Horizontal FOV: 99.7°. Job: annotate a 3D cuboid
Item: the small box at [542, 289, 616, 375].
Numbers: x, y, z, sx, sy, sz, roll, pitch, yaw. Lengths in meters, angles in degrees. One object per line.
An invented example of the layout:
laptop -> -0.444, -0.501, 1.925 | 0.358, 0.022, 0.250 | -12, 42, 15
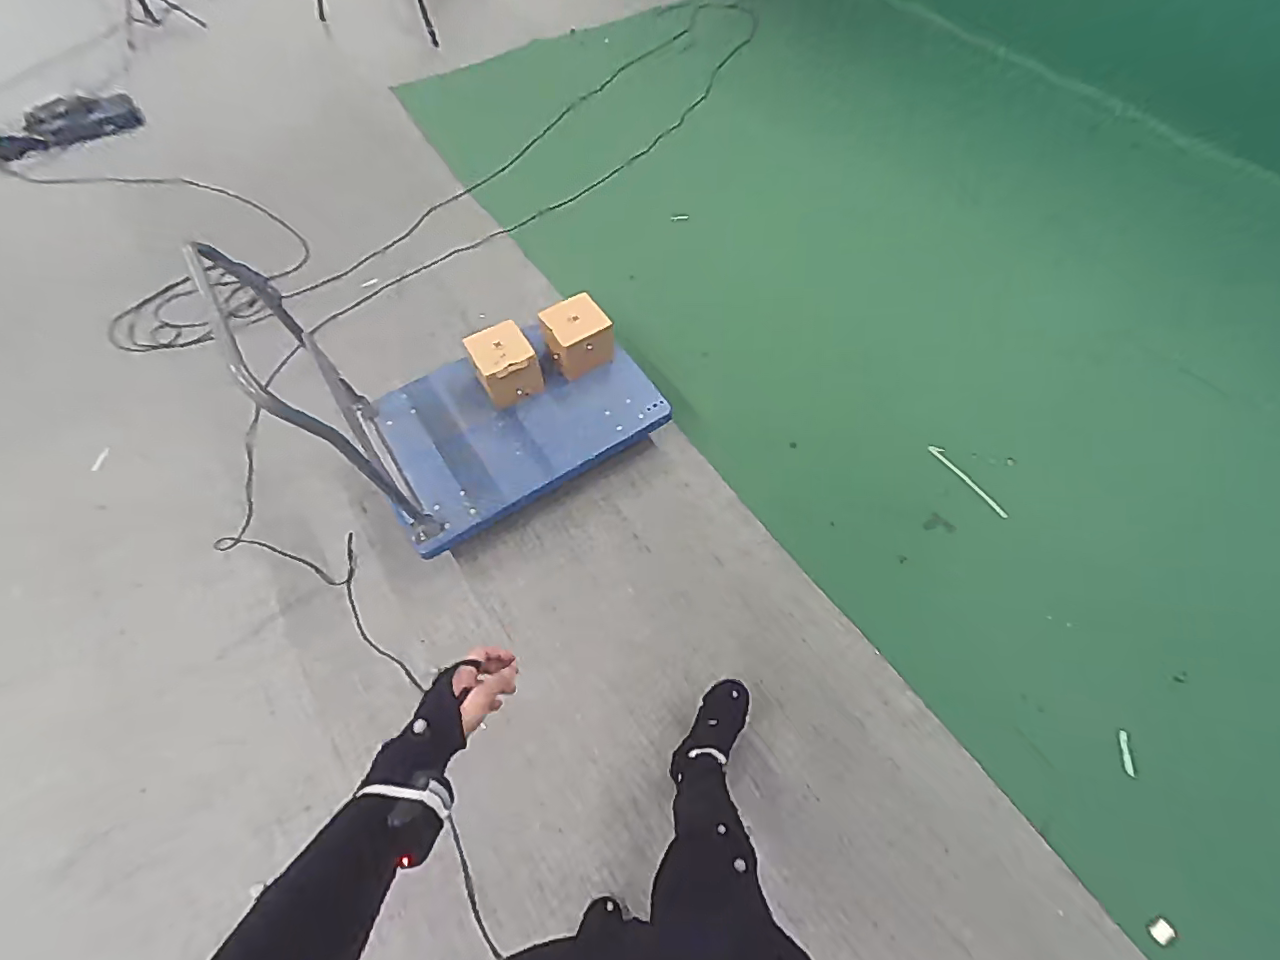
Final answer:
small box -> -0.188, -0.468, 1.726 | 0.179, 0.176, 0.168 | -29, 67, -15

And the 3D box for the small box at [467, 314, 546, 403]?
small box -> -0.408, -0.372, 1.673 | 0.168, 0.176, 0.179 | -28, 65, -14
